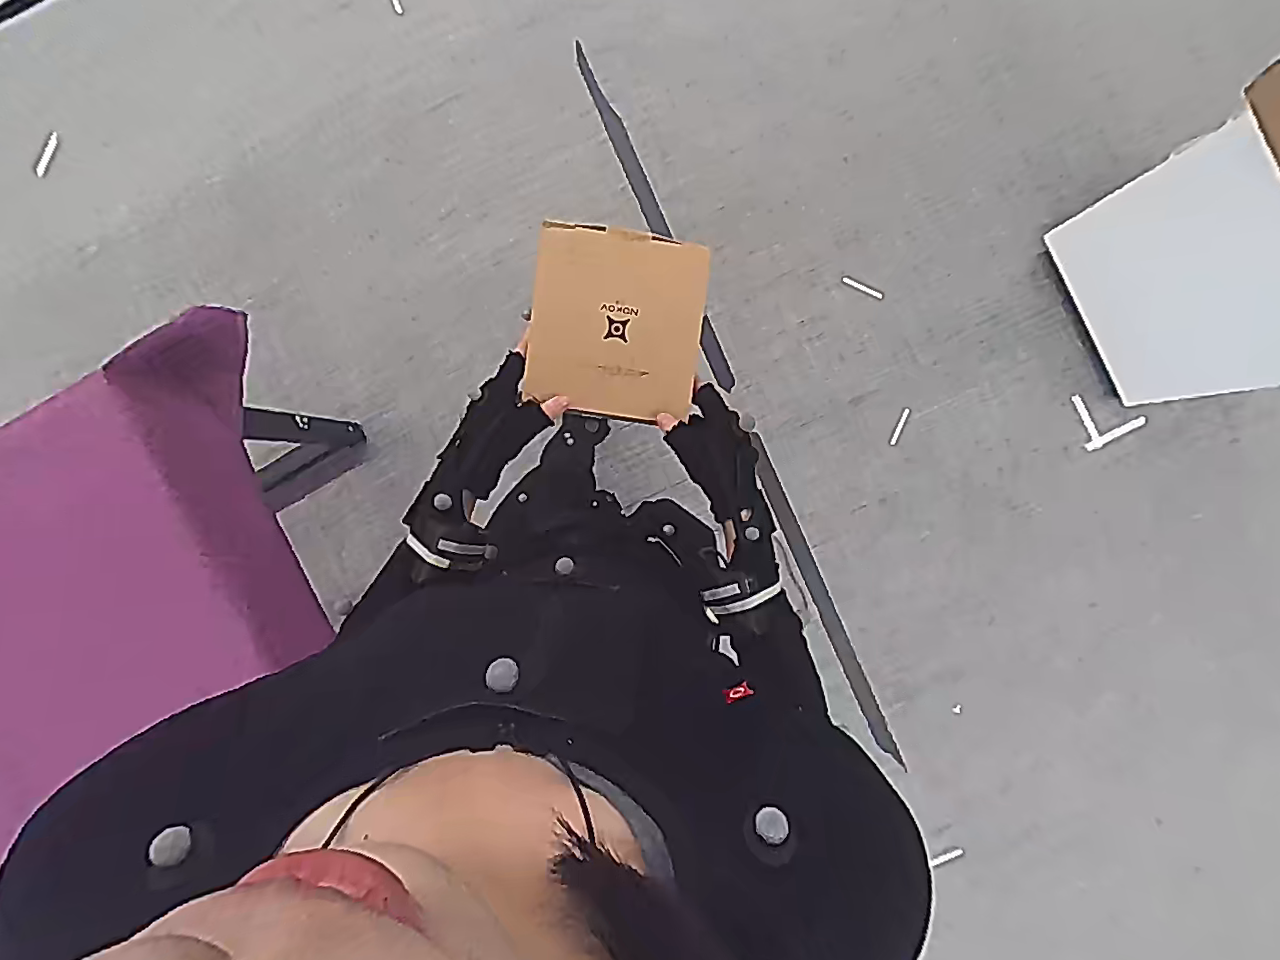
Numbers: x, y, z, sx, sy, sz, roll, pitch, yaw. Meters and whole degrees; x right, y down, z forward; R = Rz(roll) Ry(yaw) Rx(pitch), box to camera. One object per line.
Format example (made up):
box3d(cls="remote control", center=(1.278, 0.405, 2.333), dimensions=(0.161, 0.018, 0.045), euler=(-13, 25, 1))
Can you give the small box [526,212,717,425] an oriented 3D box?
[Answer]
box3d(cls="small box", center=(-0.024, -0.160, 0.596), dimensions=(0.168, 0.176, 0.179), euler=(8, 94, -5))
